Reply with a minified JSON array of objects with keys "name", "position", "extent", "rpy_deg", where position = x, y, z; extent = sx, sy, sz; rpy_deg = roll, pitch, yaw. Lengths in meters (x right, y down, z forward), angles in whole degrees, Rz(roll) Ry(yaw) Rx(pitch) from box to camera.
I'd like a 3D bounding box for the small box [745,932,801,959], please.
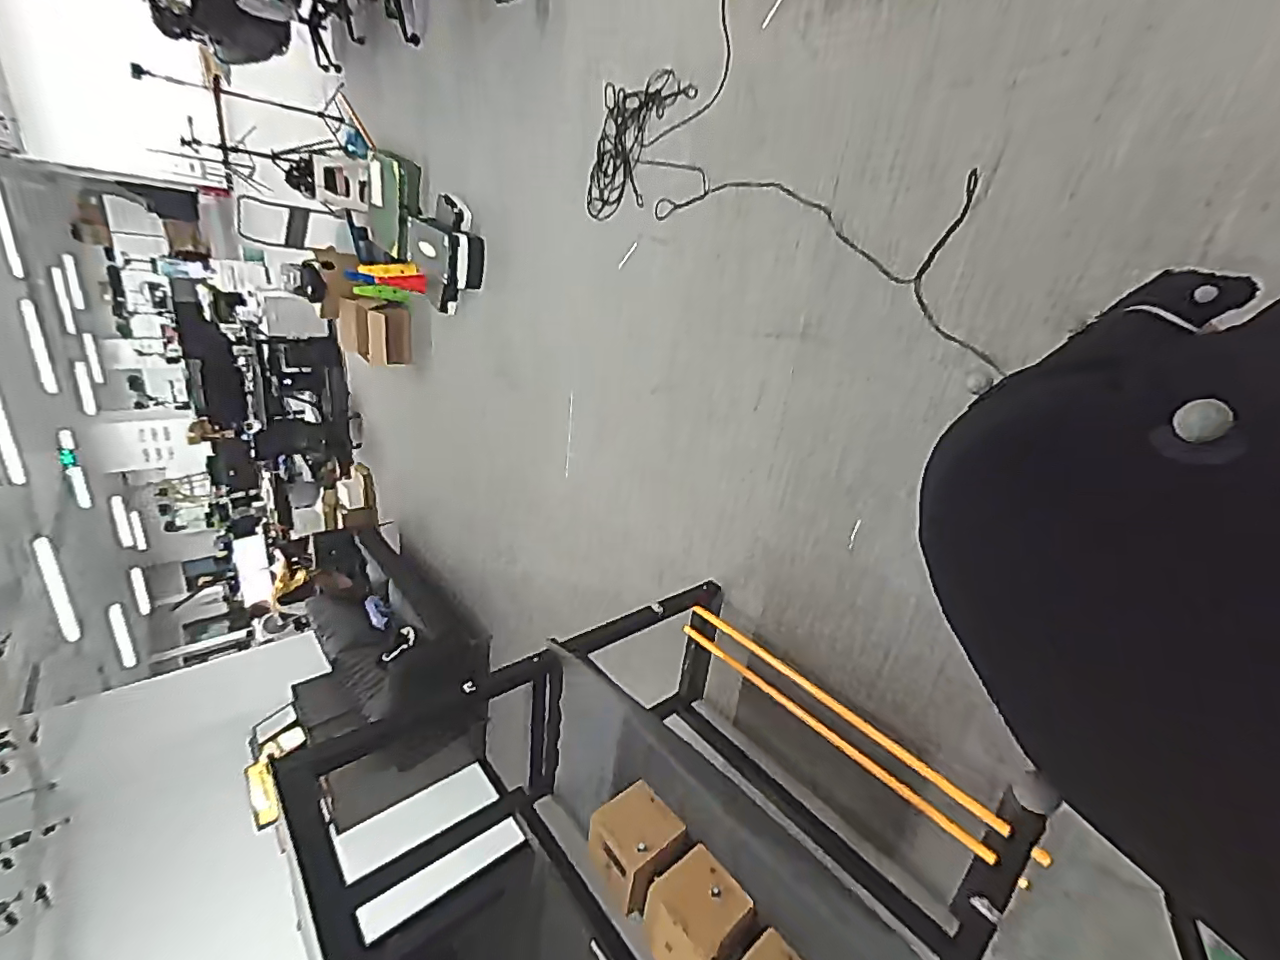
[{"name":"small box","position":[0.258,1.051,1.048],"extent":[0.168,0.176,0.179],"rpy_deg":[27,119,43]}]
